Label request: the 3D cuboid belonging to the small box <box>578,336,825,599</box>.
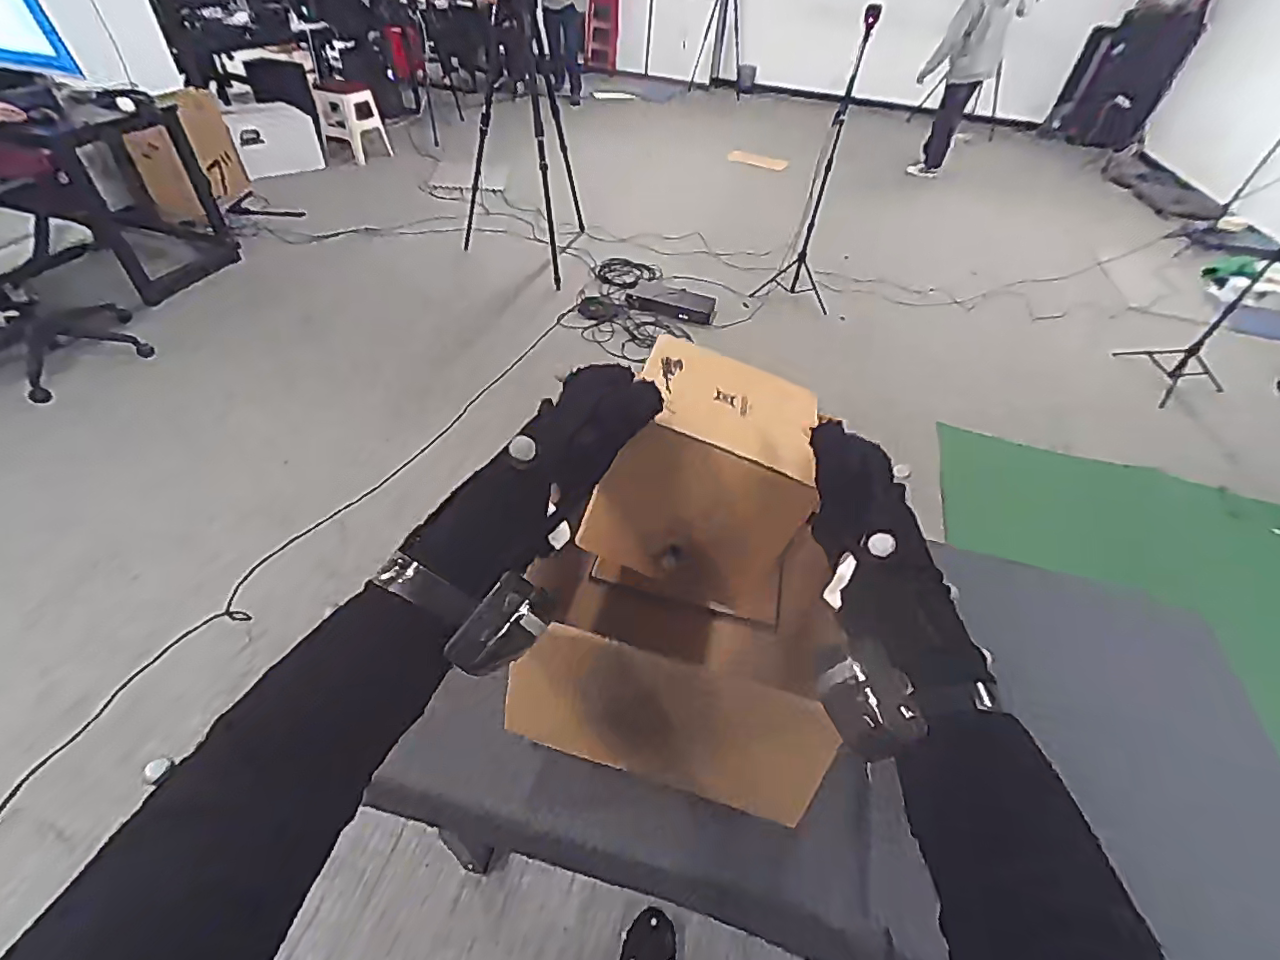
[{"bbox_3d":[0.059,-0.008,0.537,0.179,0.176,0.168,22,37,-2],"label":"small box"}]
